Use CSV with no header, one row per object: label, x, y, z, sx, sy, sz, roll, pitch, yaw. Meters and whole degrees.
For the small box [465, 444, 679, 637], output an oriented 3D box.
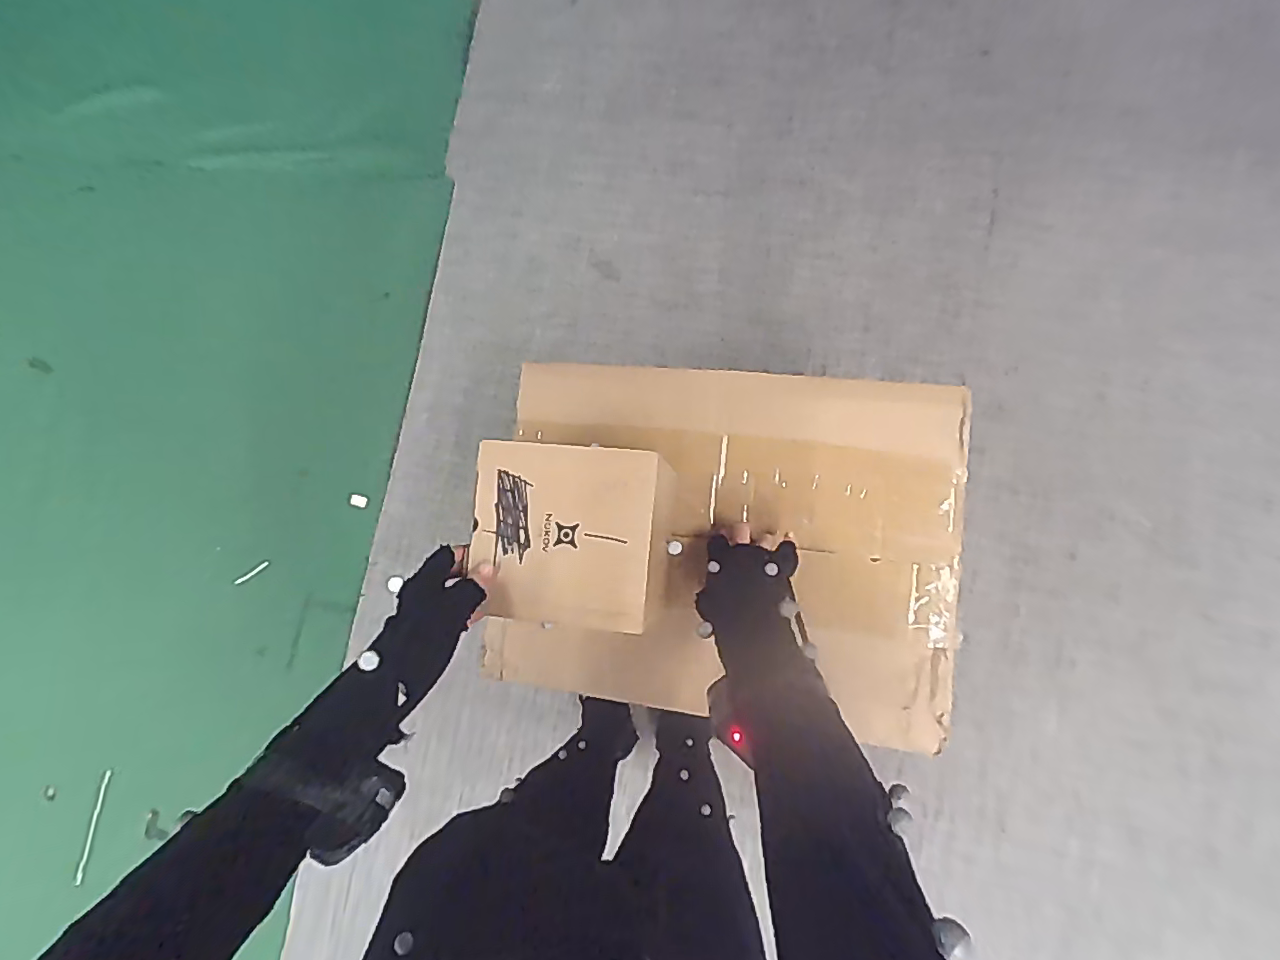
small box,-0.059,0.062,0.577,0.179,0.176,0.168,4,85,10
